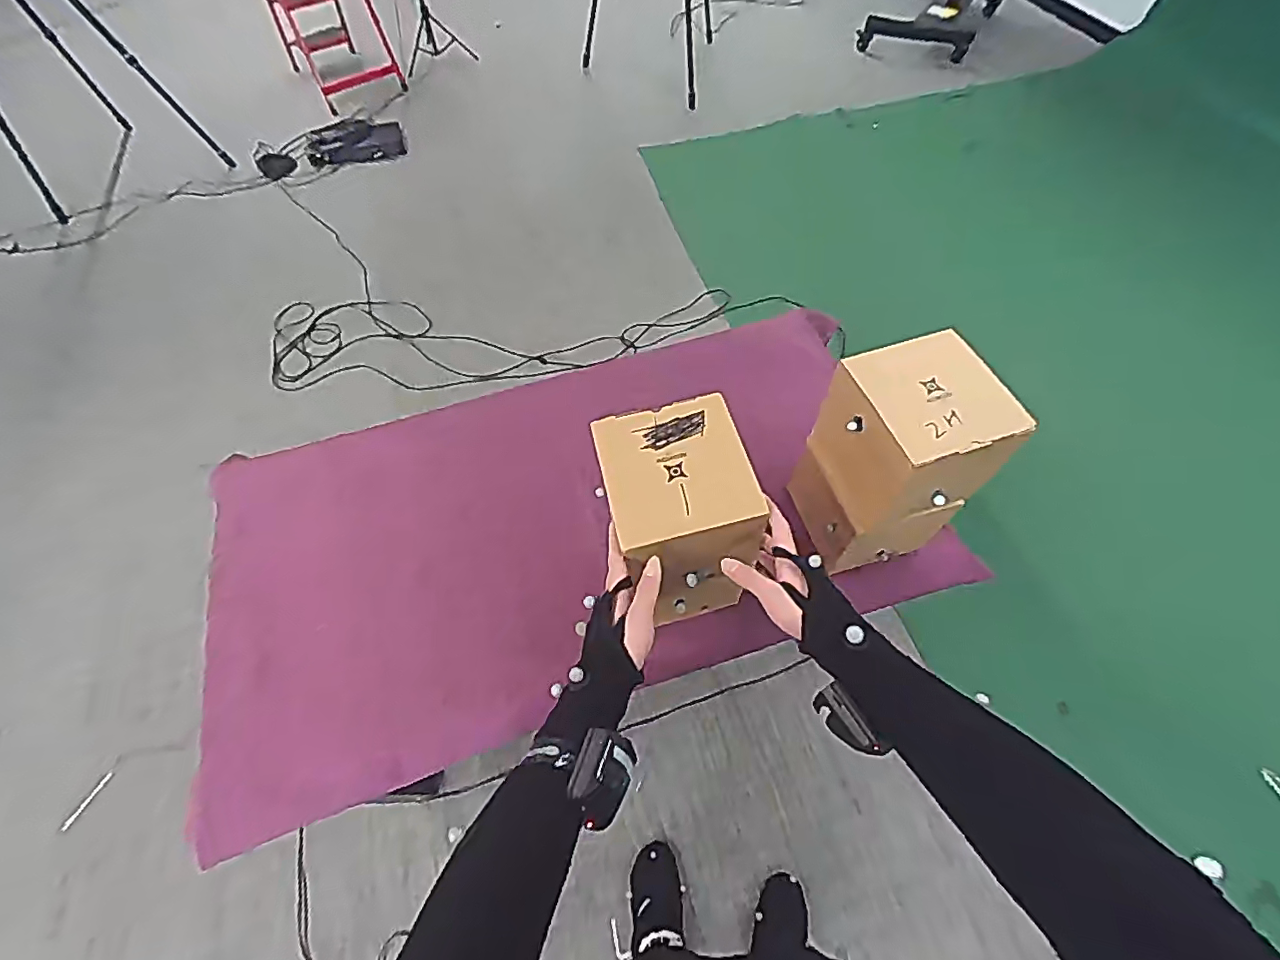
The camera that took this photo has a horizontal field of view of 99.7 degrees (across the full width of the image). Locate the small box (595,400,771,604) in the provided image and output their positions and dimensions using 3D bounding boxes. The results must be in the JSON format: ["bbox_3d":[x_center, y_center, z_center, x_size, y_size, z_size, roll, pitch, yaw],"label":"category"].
[{"bbox_3d":[0.047,0.032,0.674,0.168,0.176,0.179,-14,59,-3],"label":"small box"}]

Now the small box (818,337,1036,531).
[{"bbox_3d":[0.364,-0.057,0.730,0.168,0.176,0.179,-16,60,-6],"label":"small box"}]

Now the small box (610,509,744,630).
[{"bbox_3d":[0.057,0.117,0.832,0.168,0.176,0.179,-14,58,-7],"label":"small box"}]
